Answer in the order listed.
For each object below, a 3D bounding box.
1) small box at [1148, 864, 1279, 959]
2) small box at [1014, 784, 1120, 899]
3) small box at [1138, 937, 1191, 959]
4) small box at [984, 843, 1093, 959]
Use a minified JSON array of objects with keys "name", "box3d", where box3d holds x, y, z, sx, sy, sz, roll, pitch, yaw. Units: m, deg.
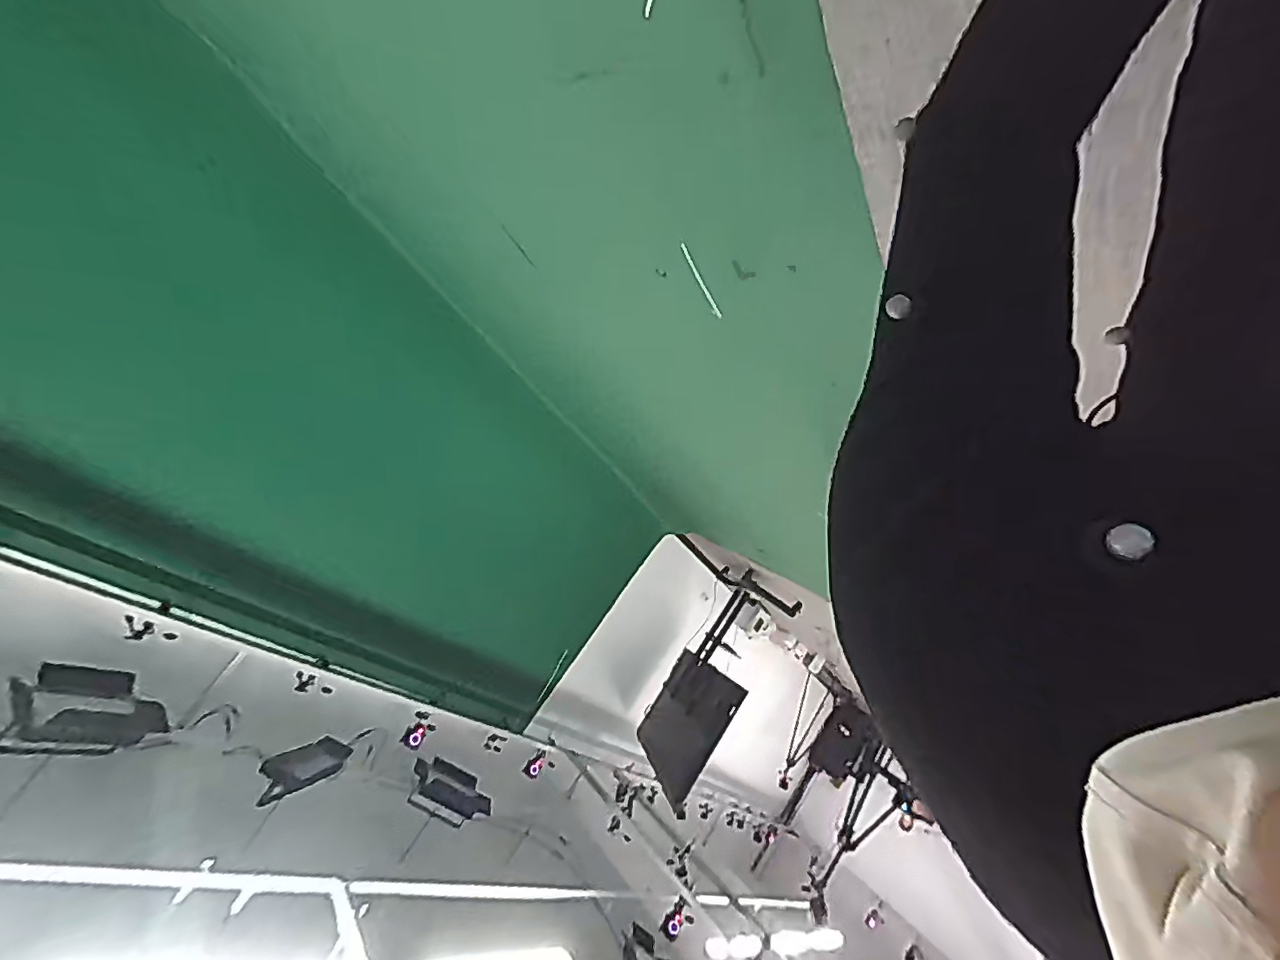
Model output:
[{"name":"small box","box3d":[1.251,0.981,1.177,0.168,0.176,0.179,23,161,48]},{"name":"small box","box3d":[1.082,0.911,1.369,0.168,0.176,0.179,21,161,49]},{"name":"small box","box3d":[1.176,1.129,1.157,0.168,0.176,0.179,25,163,44]},{"name":"small box","box3d":[0.987,1.040,1.335,0.168,0.176,0.179,21,161,50]}]
